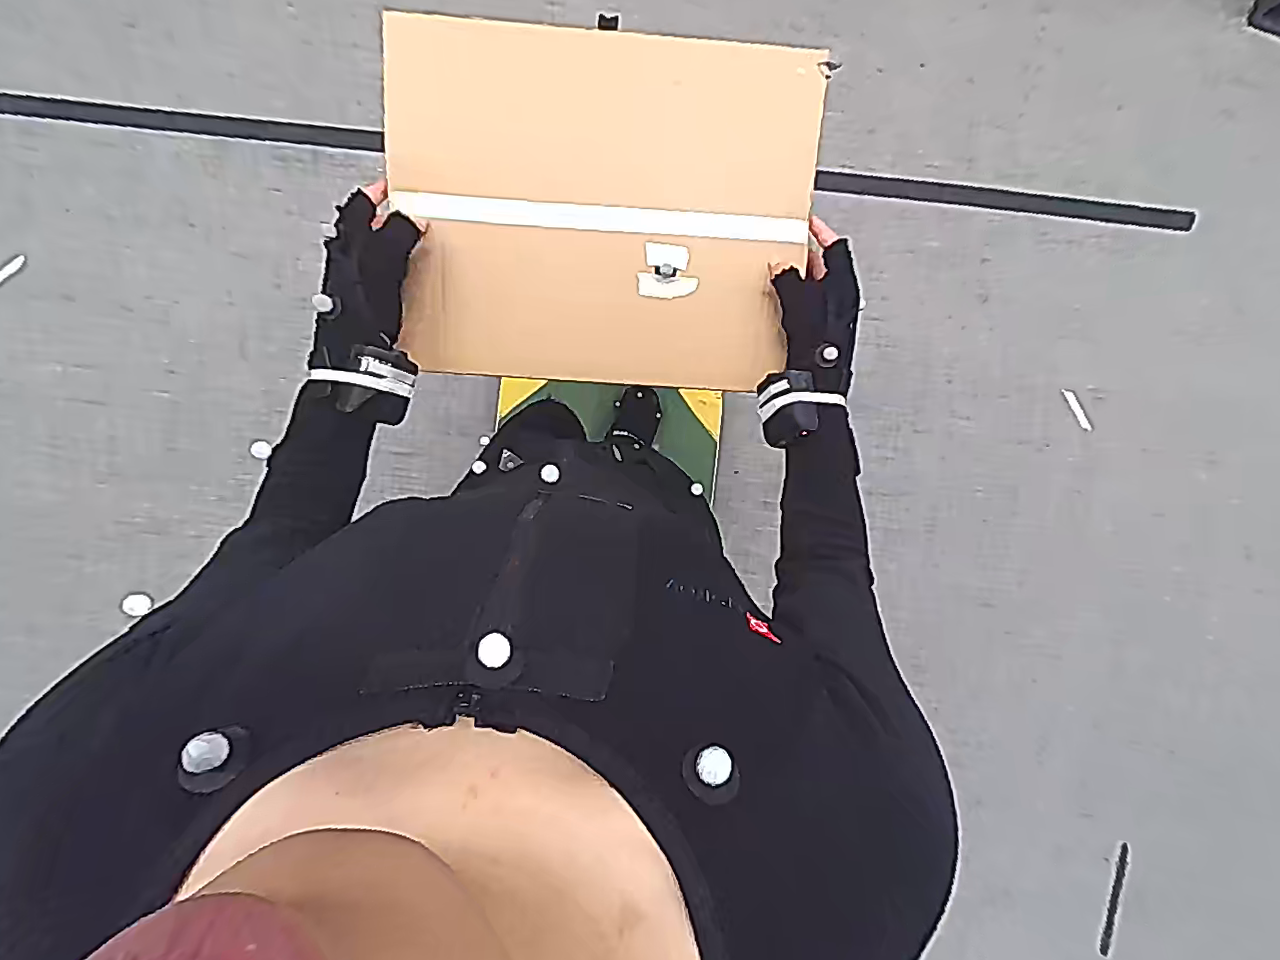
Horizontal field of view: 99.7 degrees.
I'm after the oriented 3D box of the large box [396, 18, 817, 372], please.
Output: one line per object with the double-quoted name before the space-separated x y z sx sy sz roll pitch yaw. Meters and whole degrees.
"large box" -0.041 -0.304 0.684 0.408 0.320 0.320 2 104 -3
